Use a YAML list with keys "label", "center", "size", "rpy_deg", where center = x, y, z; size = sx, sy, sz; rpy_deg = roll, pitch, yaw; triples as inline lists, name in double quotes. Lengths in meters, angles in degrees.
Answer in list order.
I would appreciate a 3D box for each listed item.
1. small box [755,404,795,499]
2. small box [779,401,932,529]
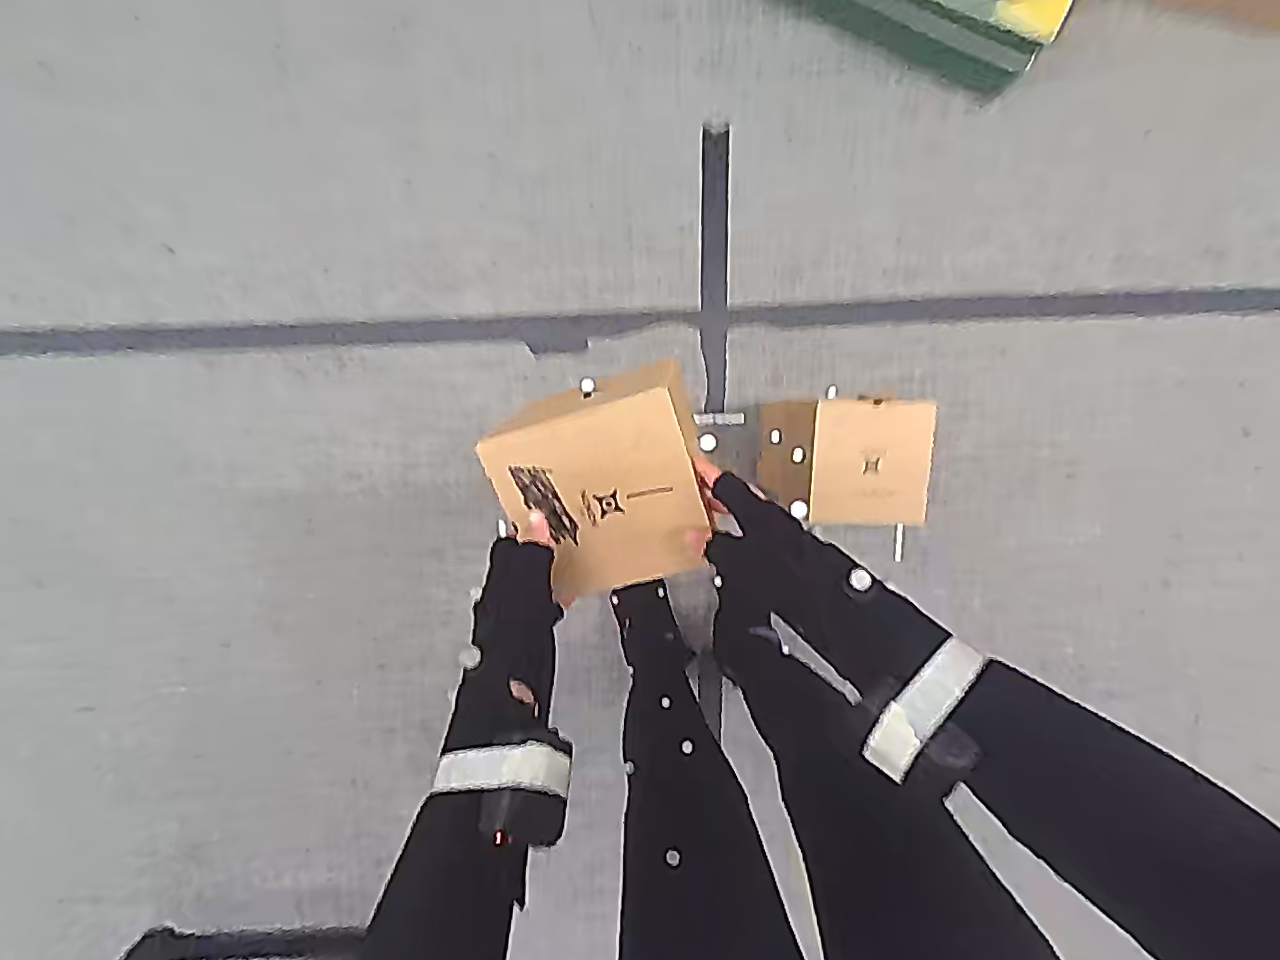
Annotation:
- label: "small box"
  center: [0.326, -0.053, 1.000]
  size: [0.179, 0.176, 0.168]
  rpy_deg: [2, 96, -3]
- label: "small box"
  center: [0.321, -0.030, 0.839]
  size: [0.168, 0.176, 0.179]
  rpy_deg: [2, 98, -1]
